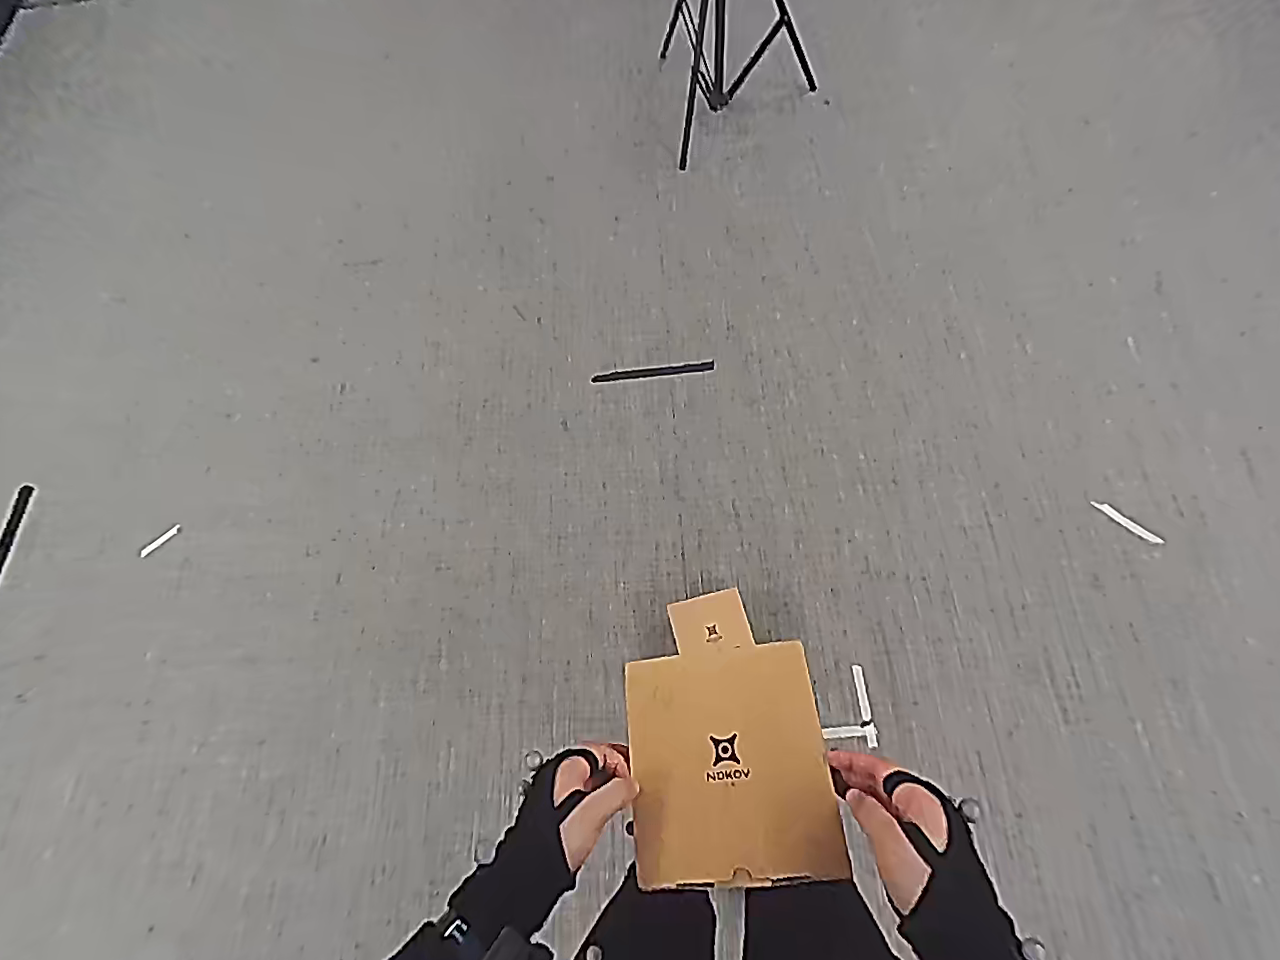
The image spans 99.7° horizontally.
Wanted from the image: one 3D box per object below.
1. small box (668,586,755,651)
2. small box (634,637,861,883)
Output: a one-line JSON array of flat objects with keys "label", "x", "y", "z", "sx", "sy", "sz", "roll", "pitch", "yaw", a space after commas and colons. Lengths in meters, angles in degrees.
[{"label": "small box", "x": 0.166, "y": 0.360, "z": 1.241, "sx": 0.168, "sy": 0.176, "sz": 0.179, "roll": -15, "pitch": 68, "yaw": 1}, {"label": "small box", "x": 0.095, "y": 0.264, "z": 0.519, "sx": 0.168, "sy": 0.176, "sz": 0.179, "roll": -10, "pitch": 60, "yaw": 9}]
